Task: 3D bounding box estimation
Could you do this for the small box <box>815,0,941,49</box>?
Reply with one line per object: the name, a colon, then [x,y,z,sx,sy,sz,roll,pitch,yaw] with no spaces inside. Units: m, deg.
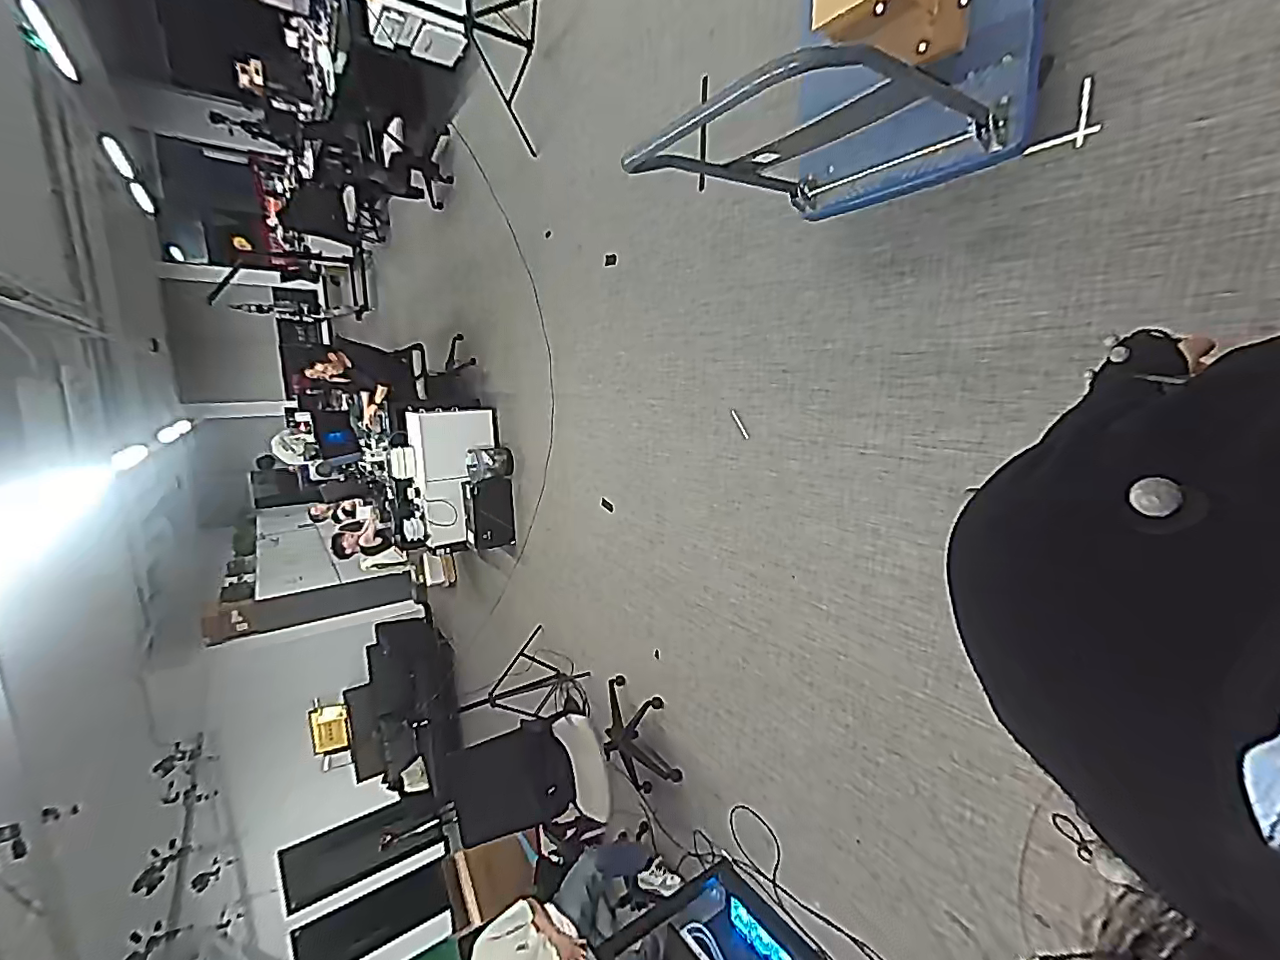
small box: [0.476,-1.006,1.072,0.179,0.176,0.168,14,109,52]
